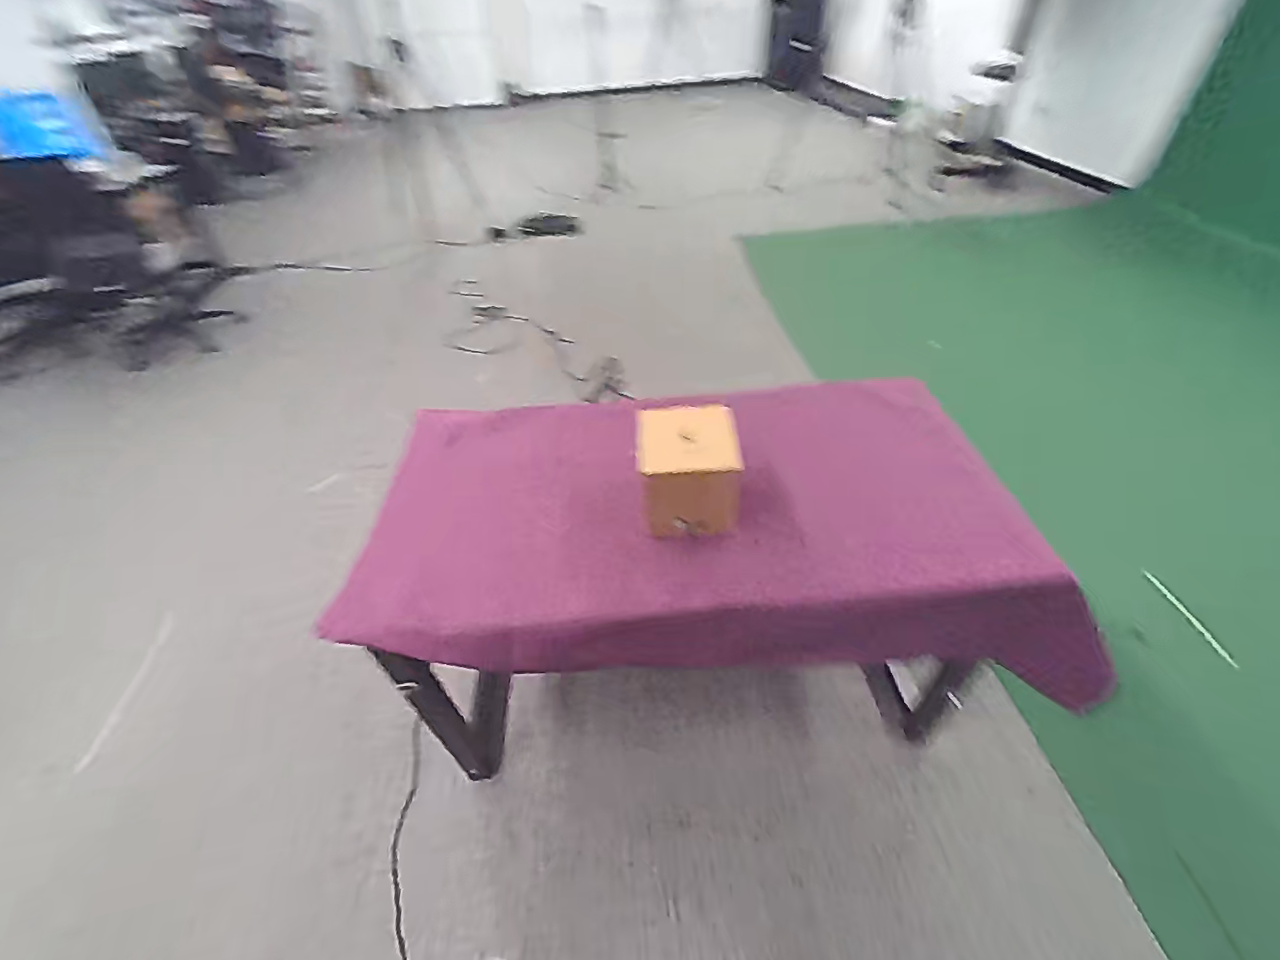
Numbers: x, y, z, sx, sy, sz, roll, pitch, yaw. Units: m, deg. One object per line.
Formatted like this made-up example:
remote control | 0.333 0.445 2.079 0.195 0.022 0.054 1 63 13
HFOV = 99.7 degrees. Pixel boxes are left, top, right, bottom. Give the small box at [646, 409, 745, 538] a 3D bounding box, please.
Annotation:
small box | 0.098 -0.012 1.006 0.168 0.176 0.179 -2 43 3
